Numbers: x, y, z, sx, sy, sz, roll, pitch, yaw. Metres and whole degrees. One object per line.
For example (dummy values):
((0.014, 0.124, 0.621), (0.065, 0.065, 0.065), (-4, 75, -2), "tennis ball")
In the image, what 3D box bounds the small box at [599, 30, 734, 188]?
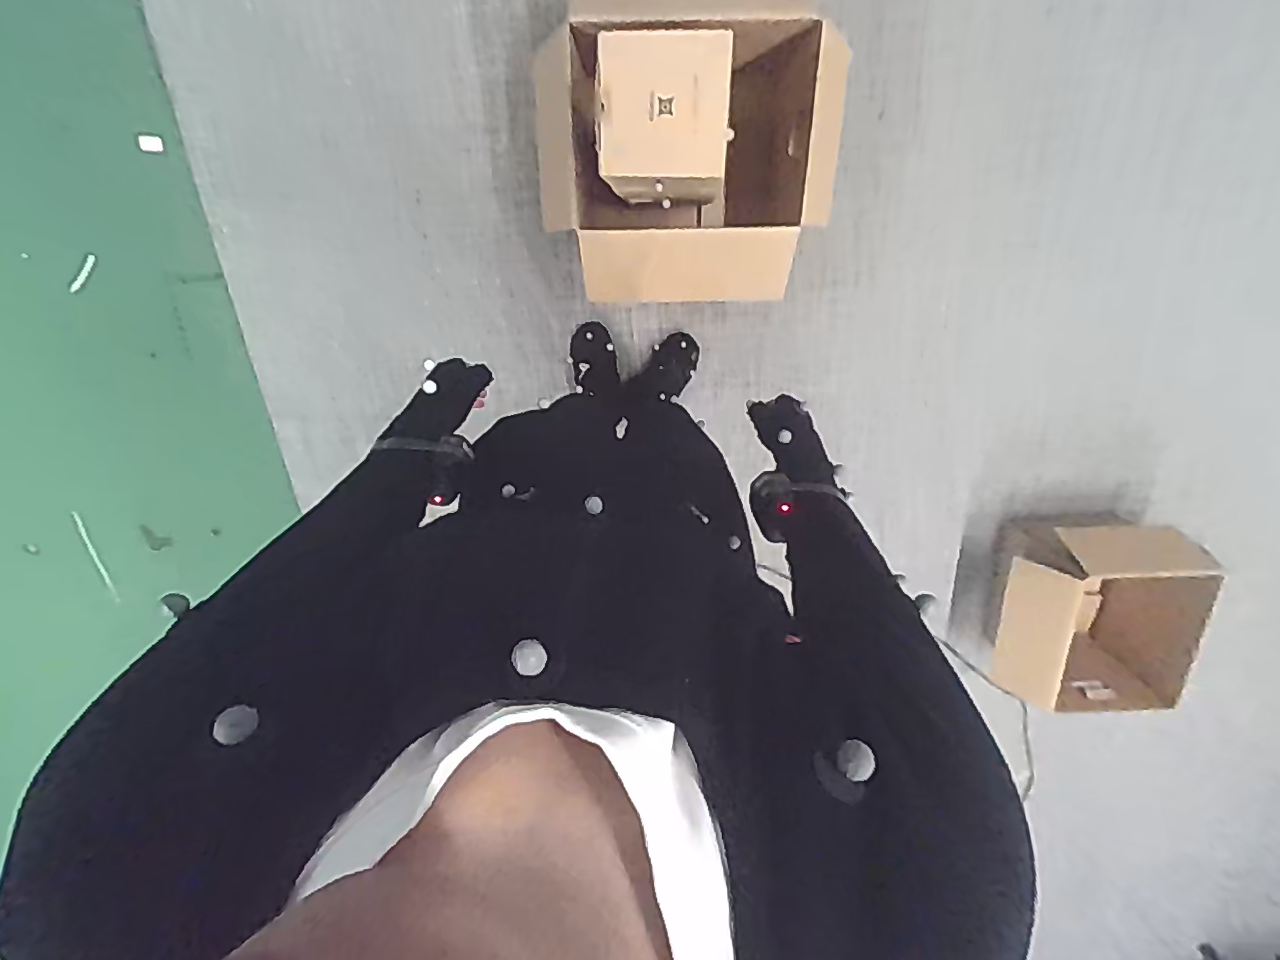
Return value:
((0.039, -0.533, 0.799), (0.179, 0.176, 0.168), (1, 114, 3), "small box")
